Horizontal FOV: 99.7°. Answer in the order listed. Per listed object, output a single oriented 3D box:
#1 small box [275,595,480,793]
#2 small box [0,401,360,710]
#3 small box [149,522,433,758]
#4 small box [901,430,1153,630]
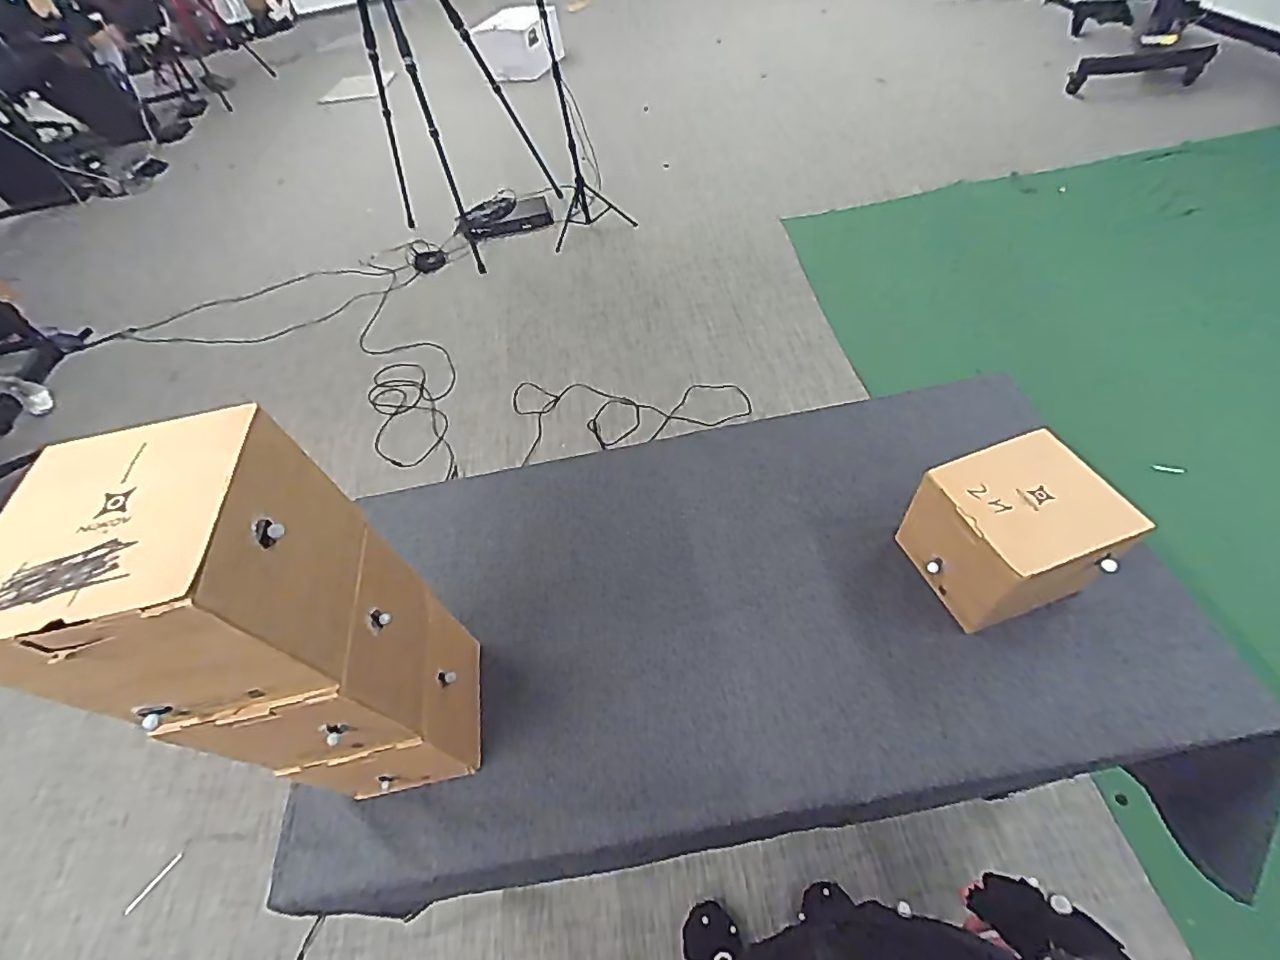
[{"bbox_3d":[-0.312,0.273,0.686,0.168,0.176,0.179,-12,53,-1],"label":"small box"},{"bbox_3d":[-0.351,0.069,0.434,0.168,0.176,0.179,-12,52,-2],"label":"small box"},{"bbox_3d":[-0.330,0.173,0.559,0.168,0.176,0.179,-11,52,-1],"label":"small box"},{"bbox_3d":[0.478,0.069,0.704,0.179,0.176,0.168,-19,52,-4],"label":"small box"}]
